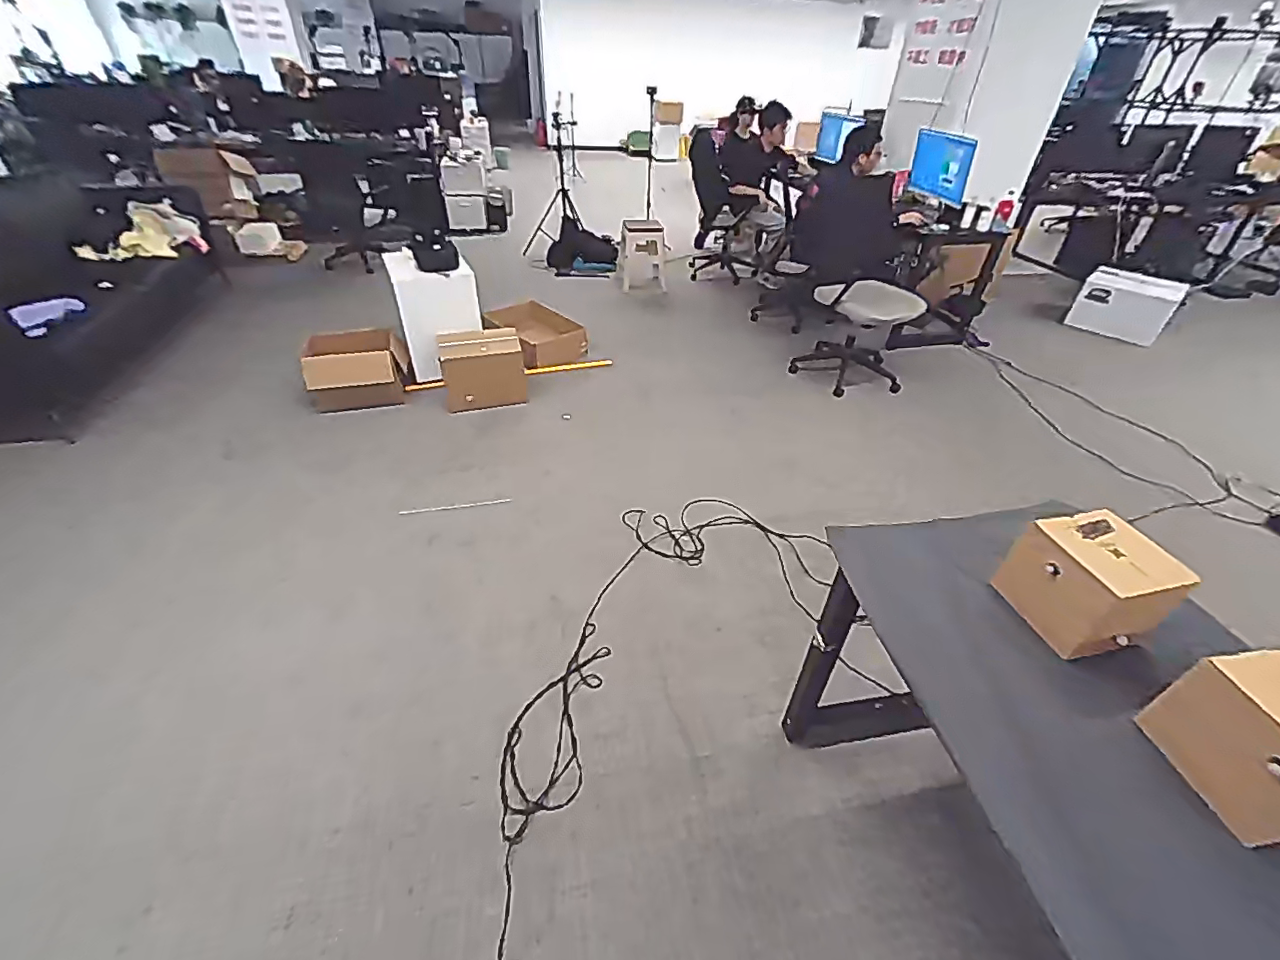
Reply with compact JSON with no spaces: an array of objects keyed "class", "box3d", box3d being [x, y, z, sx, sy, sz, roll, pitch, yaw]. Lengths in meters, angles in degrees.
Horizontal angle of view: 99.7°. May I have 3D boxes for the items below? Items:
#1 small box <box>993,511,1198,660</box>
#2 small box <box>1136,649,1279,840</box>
[{"class":"small box","box3d":[0.765,0.180,0.935,0.168,0.176,0.179,-7,40,-12]},{"class":"small box","box3d":[0.841,0.351,0.717,0.168,0.176,0.179,-3,38,-8]}]
